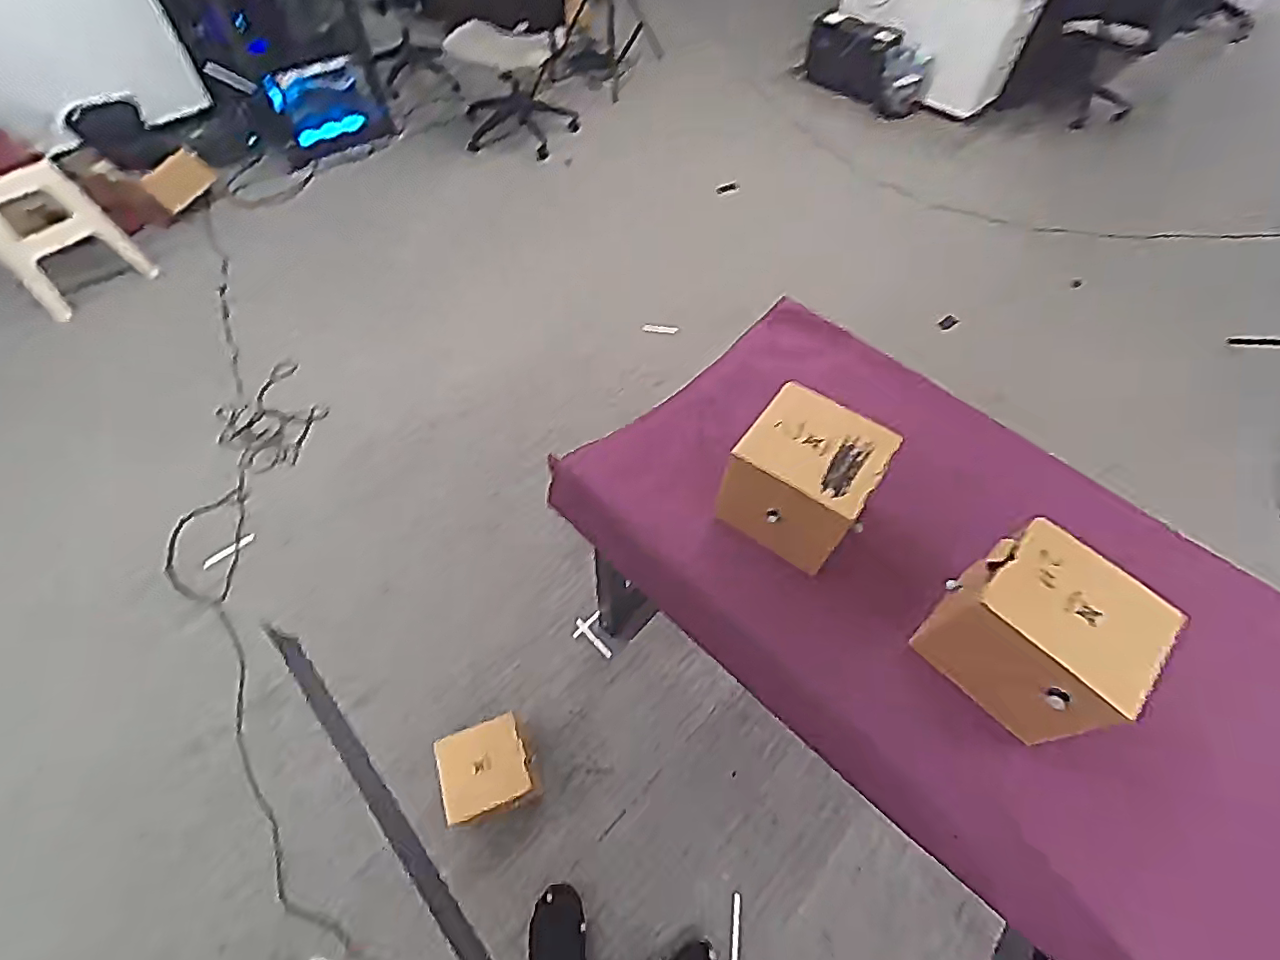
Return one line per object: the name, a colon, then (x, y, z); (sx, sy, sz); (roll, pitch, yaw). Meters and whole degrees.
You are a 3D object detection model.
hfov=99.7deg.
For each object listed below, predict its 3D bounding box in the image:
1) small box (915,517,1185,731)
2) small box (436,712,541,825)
small box: (0.491, 0.186, 0.673); (0.168, 0.176, 0.179); (-36, 64, -24)
small box: (-0.333, 0.649, 1.208); (0.179, 0.176, 0.168); (-18, 59, -14)
